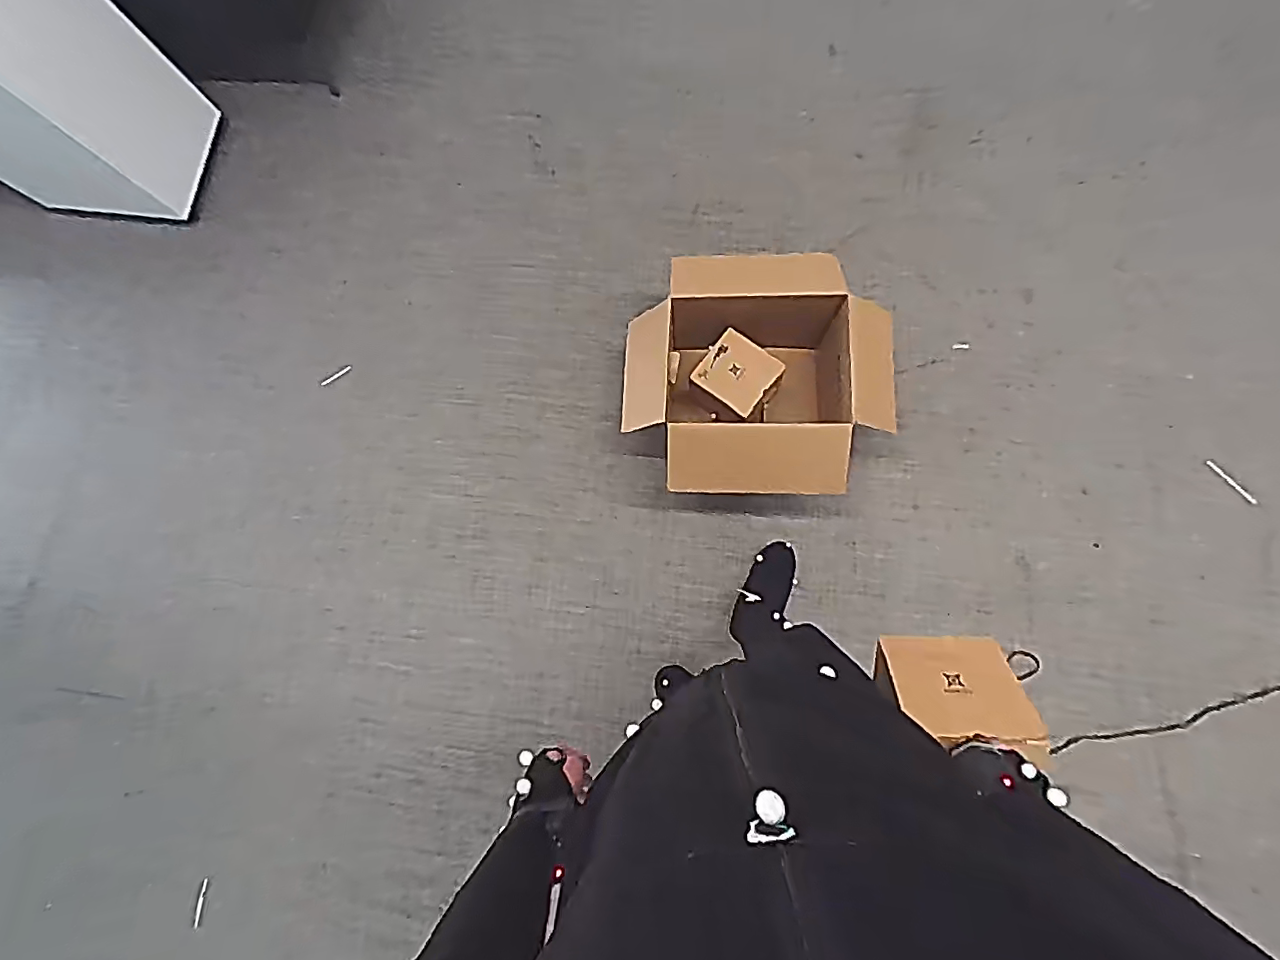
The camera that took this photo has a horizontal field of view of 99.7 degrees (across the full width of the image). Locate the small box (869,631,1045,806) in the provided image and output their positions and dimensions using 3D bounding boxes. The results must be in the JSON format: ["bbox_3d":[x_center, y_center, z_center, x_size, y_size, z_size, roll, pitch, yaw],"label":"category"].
[{"bbox_3d":[0.443,0.343,0.789,0.168,0.179,0.176,-2,118,9],"label":"small box"}]
